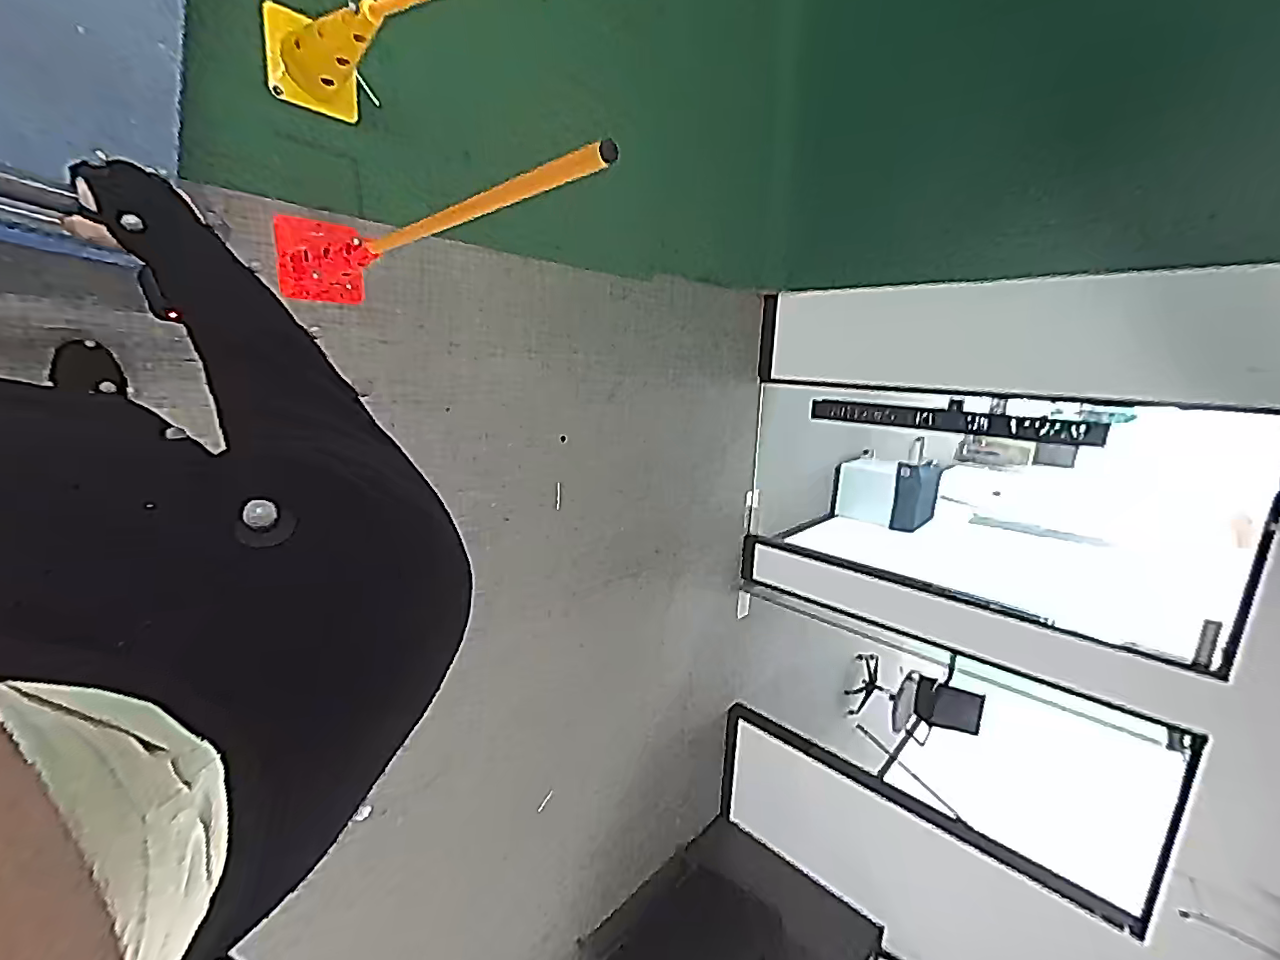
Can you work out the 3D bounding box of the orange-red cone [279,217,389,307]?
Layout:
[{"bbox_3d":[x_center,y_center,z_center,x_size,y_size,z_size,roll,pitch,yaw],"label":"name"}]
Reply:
[{"bbox_3d":[-0.695,-0.535,1.293,0.198,0.360,0.199,-10,106,-46],"label":"orange-red cone"}]
